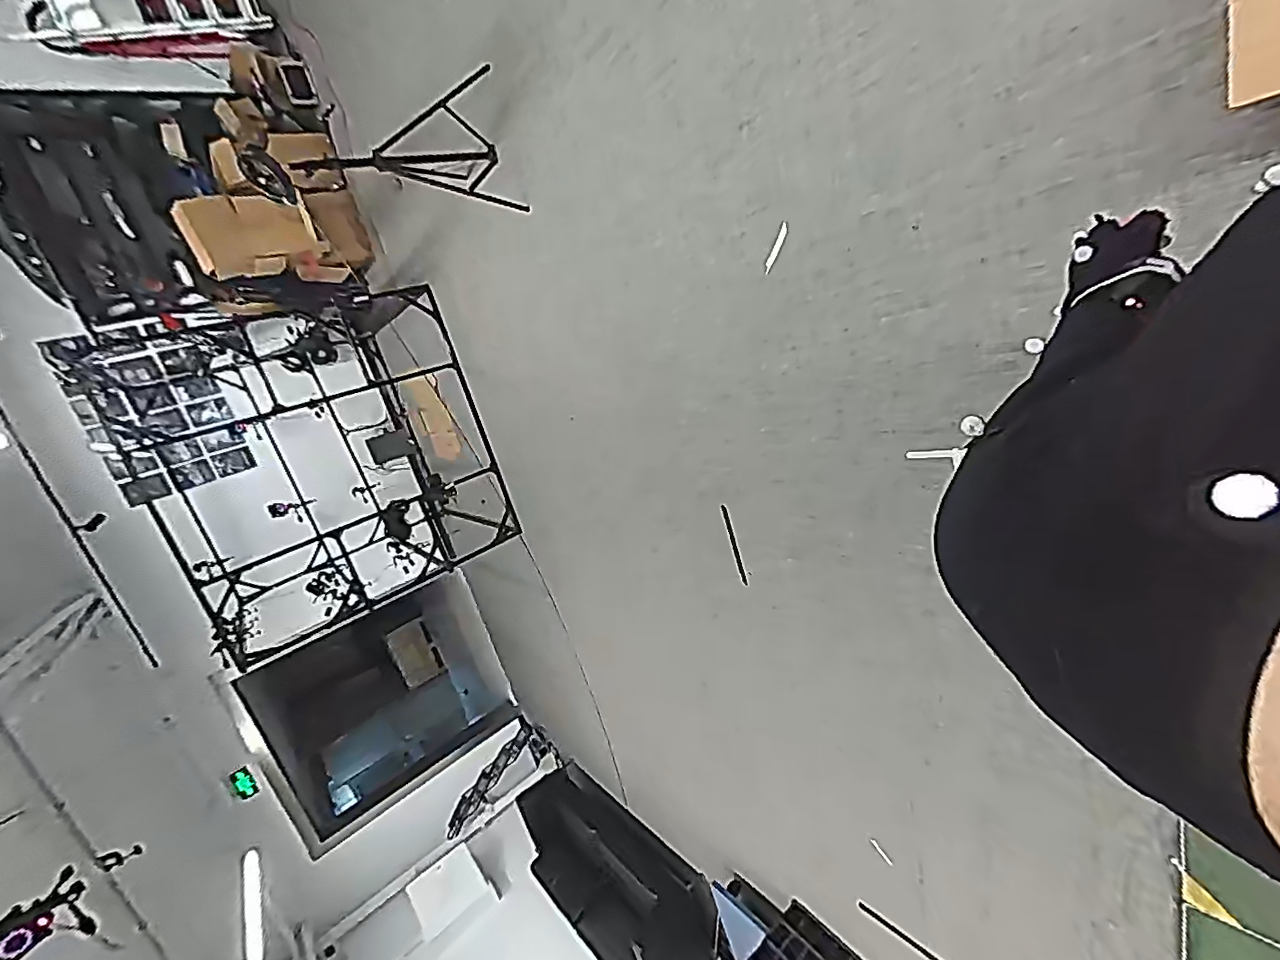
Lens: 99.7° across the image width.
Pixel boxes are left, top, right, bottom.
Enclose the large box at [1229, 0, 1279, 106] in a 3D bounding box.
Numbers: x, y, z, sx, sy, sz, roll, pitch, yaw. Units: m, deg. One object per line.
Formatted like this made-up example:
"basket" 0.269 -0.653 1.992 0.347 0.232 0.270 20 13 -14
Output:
"large box" 1.003 -0.709 0.636 0.408 0.320 0.320 4 116 52
